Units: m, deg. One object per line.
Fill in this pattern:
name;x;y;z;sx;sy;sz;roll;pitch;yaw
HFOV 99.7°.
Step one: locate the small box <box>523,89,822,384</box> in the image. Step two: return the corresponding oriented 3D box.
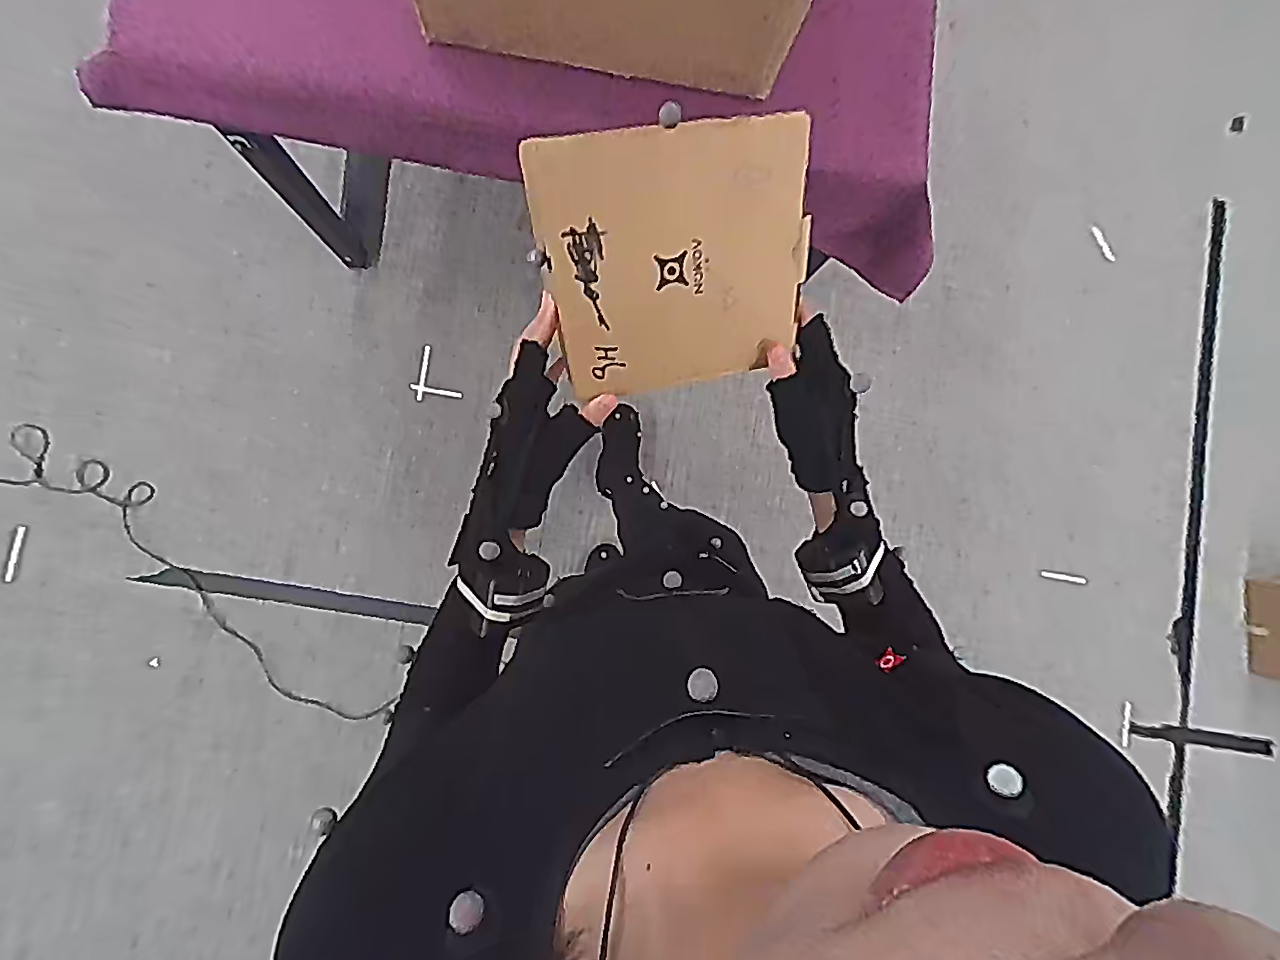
small box;0.015;-0.194;0.423;0.179;0.176;0.168;-12;123;-9
